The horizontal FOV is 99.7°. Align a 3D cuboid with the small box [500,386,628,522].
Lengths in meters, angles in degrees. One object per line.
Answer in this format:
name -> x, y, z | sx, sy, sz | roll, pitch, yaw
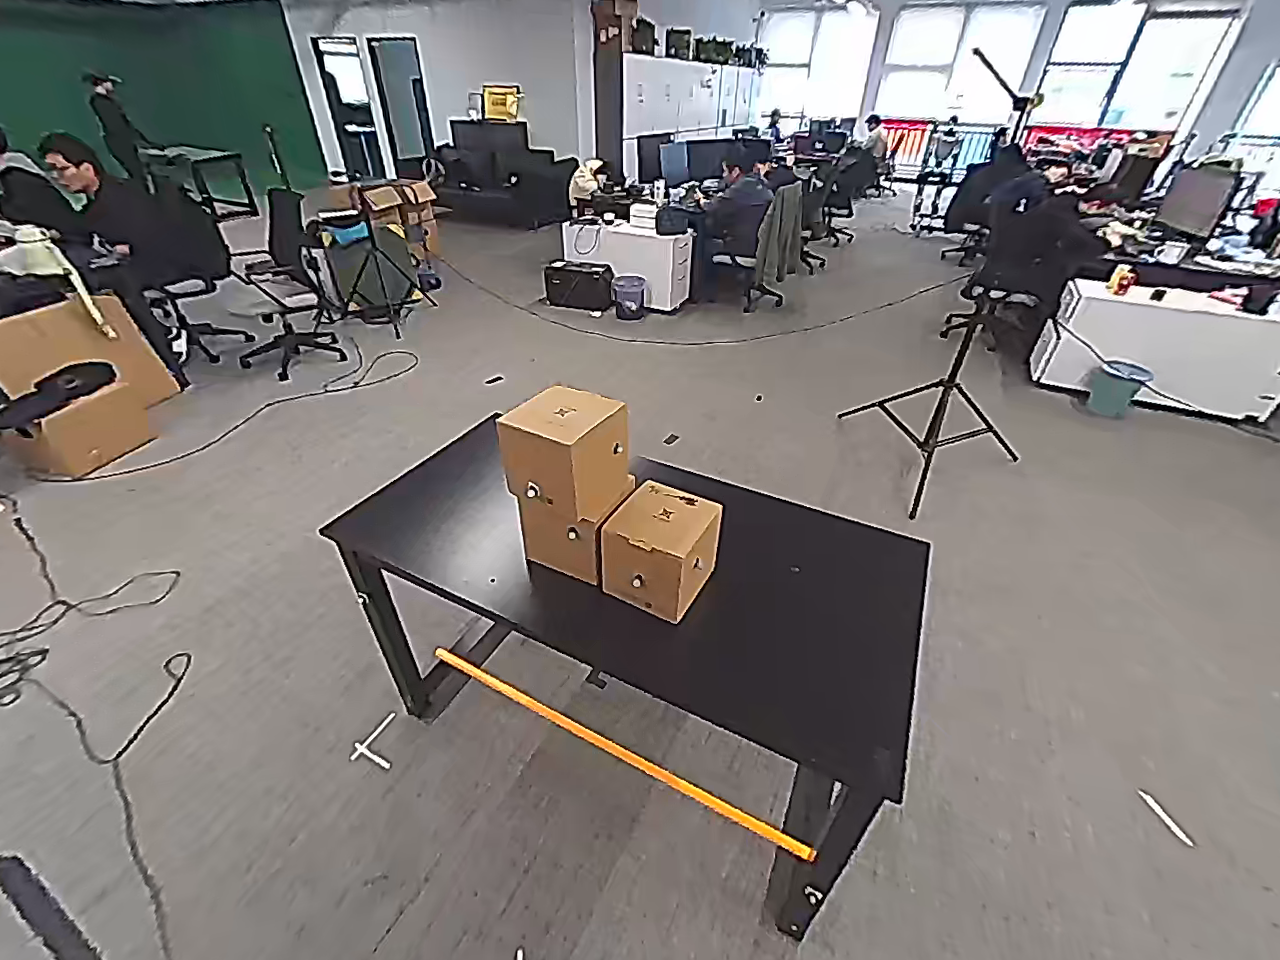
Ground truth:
small box -> -0.136, -0.052, 1.019 | 0.168, 0.176, 0.179 | 18, 40, 24
